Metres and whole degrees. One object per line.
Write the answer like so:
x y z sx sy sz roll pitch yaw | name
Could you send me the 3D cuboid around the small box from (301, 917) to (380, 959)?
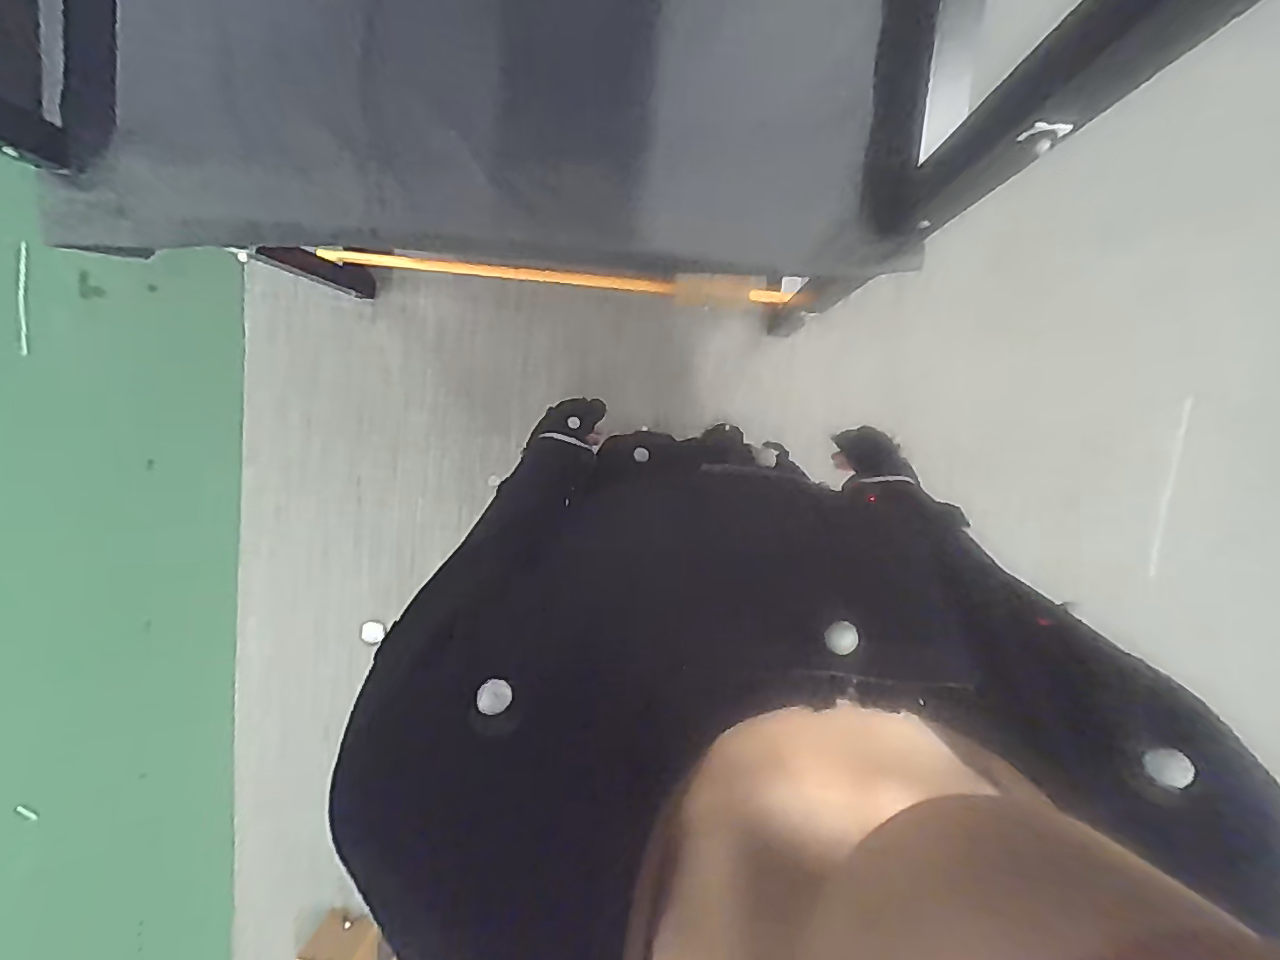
-0.901 1.468 1.613 0.168 0.176 0.179 7 96 3 | small box
